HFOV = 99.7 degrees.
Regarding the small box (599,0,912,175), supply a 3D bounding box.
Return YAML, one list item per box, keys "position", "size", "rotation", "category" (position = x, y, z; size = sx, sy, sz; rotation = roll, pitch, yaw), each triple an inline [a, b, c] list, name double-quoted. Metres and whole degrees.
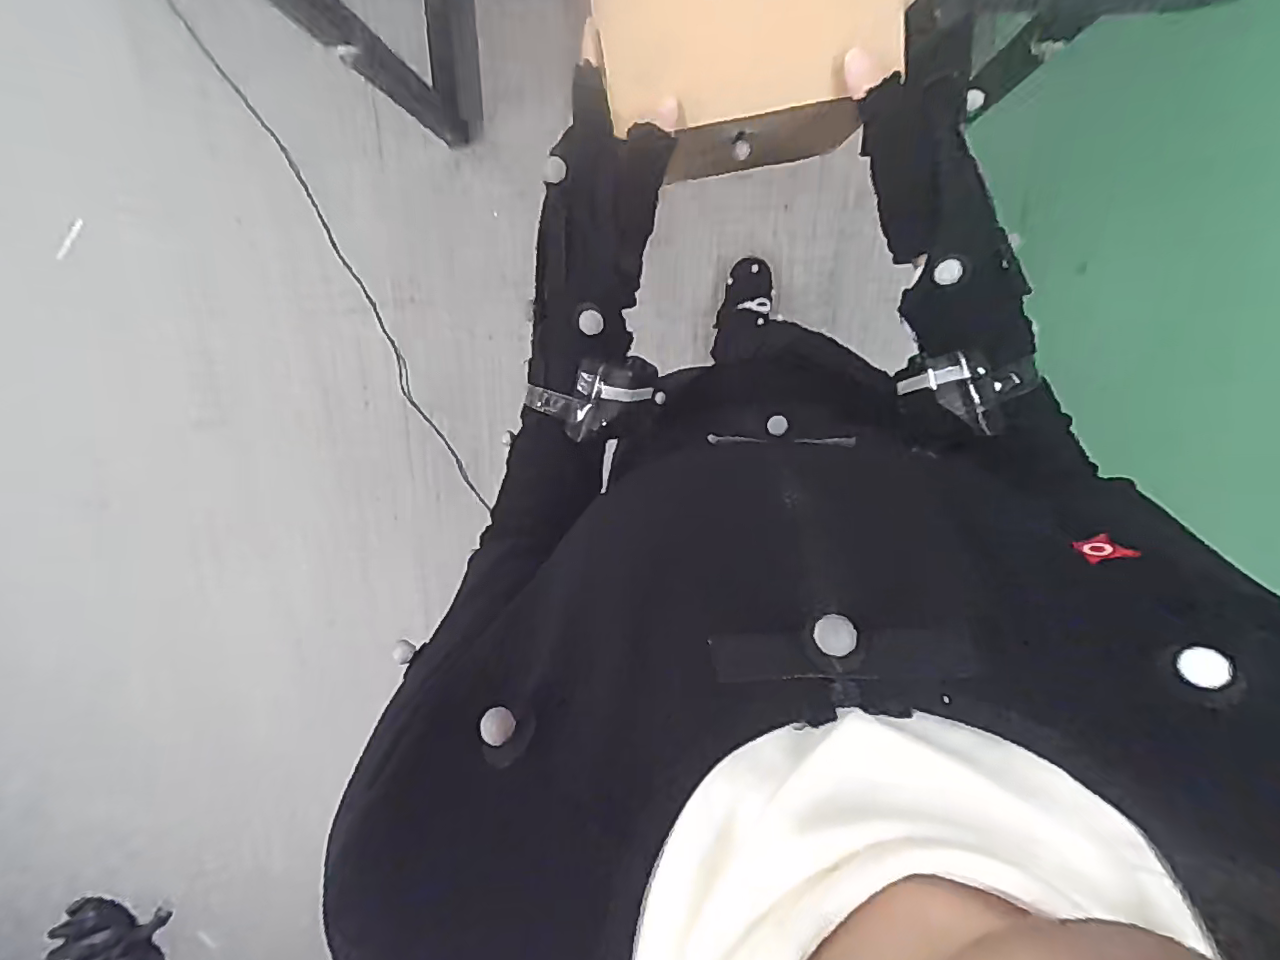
- position: [0.065, -0.329, 0.373]
  size: [0.179, 0.176, 0.168]
  rotation: [-8, 109, 6]
  category: "small box"
